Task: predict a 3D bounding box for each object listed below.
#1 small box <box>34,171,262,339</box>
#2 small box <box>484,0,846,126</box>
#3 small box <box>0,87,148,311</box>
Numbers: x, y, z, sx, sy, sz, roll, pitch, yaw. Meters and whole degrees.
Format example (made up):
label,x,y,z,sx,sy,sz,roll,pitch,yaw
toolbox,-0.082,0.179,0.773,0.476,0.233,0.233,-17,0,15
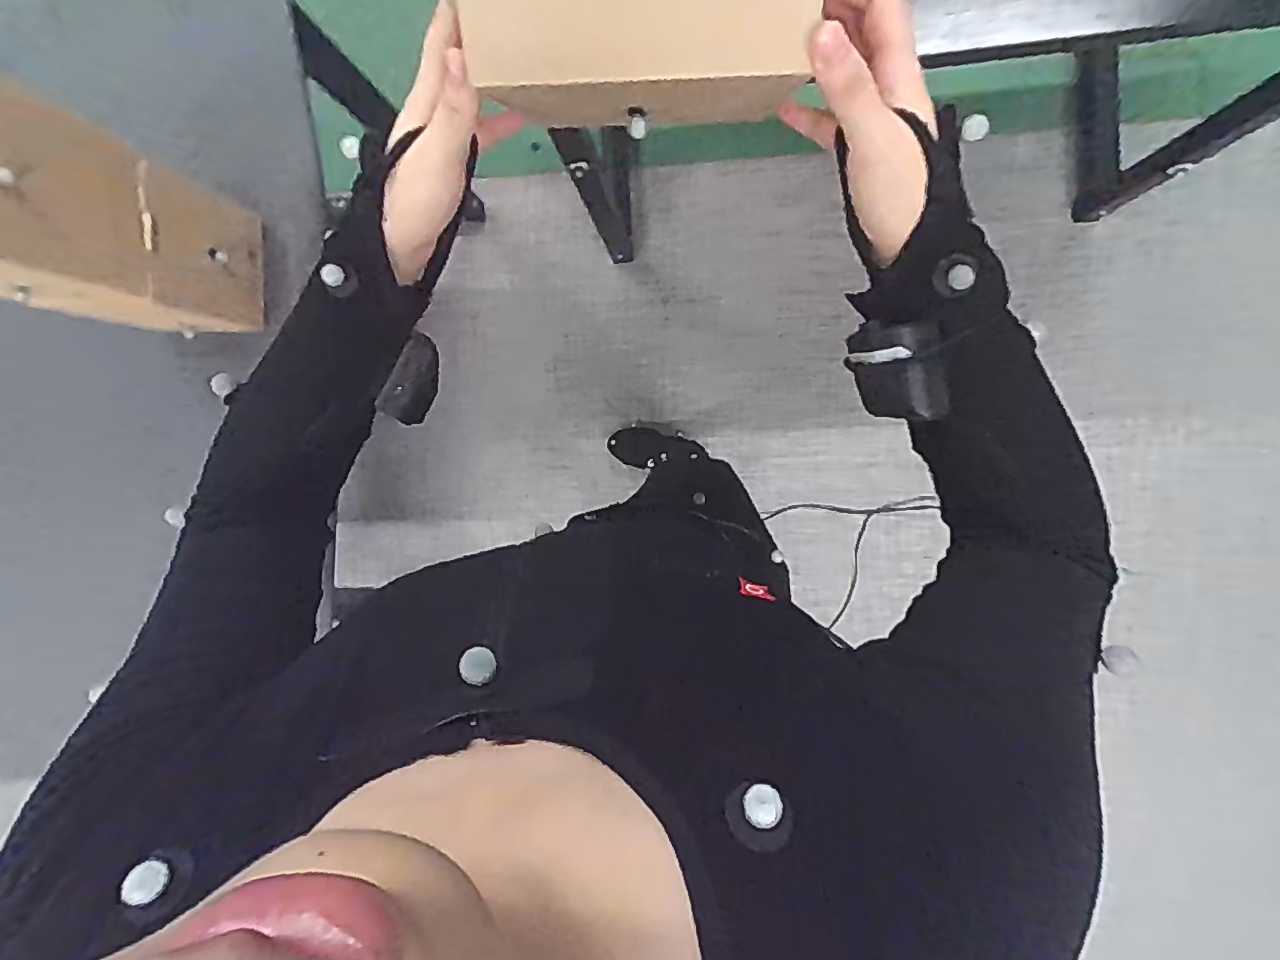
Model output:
label,x,y,z,sx,sy,sz,roll,pitch,yaw
small box,-0.639,-0.286,0.718,0.179,0.176,0.168,2,95,8
small box,0.015,-0.297,0.287,0.168,0.176,0.179,0,118,3
small box,-0.663,-0.284,0.557,0.168,0.176,0.179,0,95,8
